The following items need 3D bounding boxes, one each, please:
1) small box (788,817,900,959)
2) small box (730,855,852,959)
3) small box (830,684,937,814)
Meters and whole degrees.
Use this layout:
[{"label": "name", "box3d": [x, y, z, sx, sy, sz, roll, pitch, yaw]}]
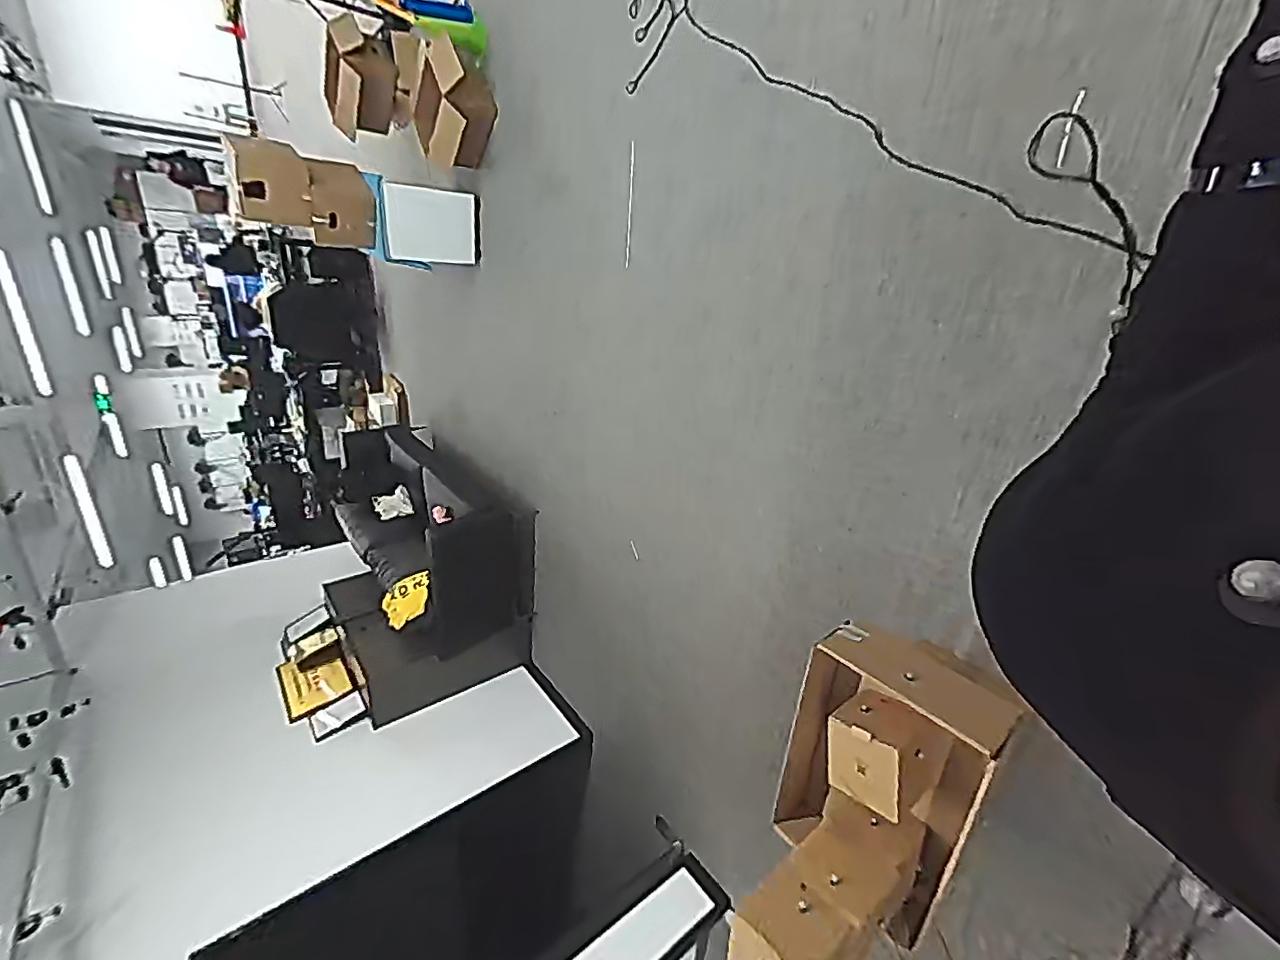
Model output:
[{"label": "small box", "box3d": [0.438, 0.888, 1.189, 0.179, 0.176, 0.168, 21, 116, 46]}, {"label": "small box", "box3d": [0.306, 0.926, 1.097, 0.168, 0.176, 0.179, 24, 118, 45]}, {"label": "small box", "box3d": [0.552, 0.596, 1.227, 0.168, 0.176, 0.179, 10, 109, 51]}]
